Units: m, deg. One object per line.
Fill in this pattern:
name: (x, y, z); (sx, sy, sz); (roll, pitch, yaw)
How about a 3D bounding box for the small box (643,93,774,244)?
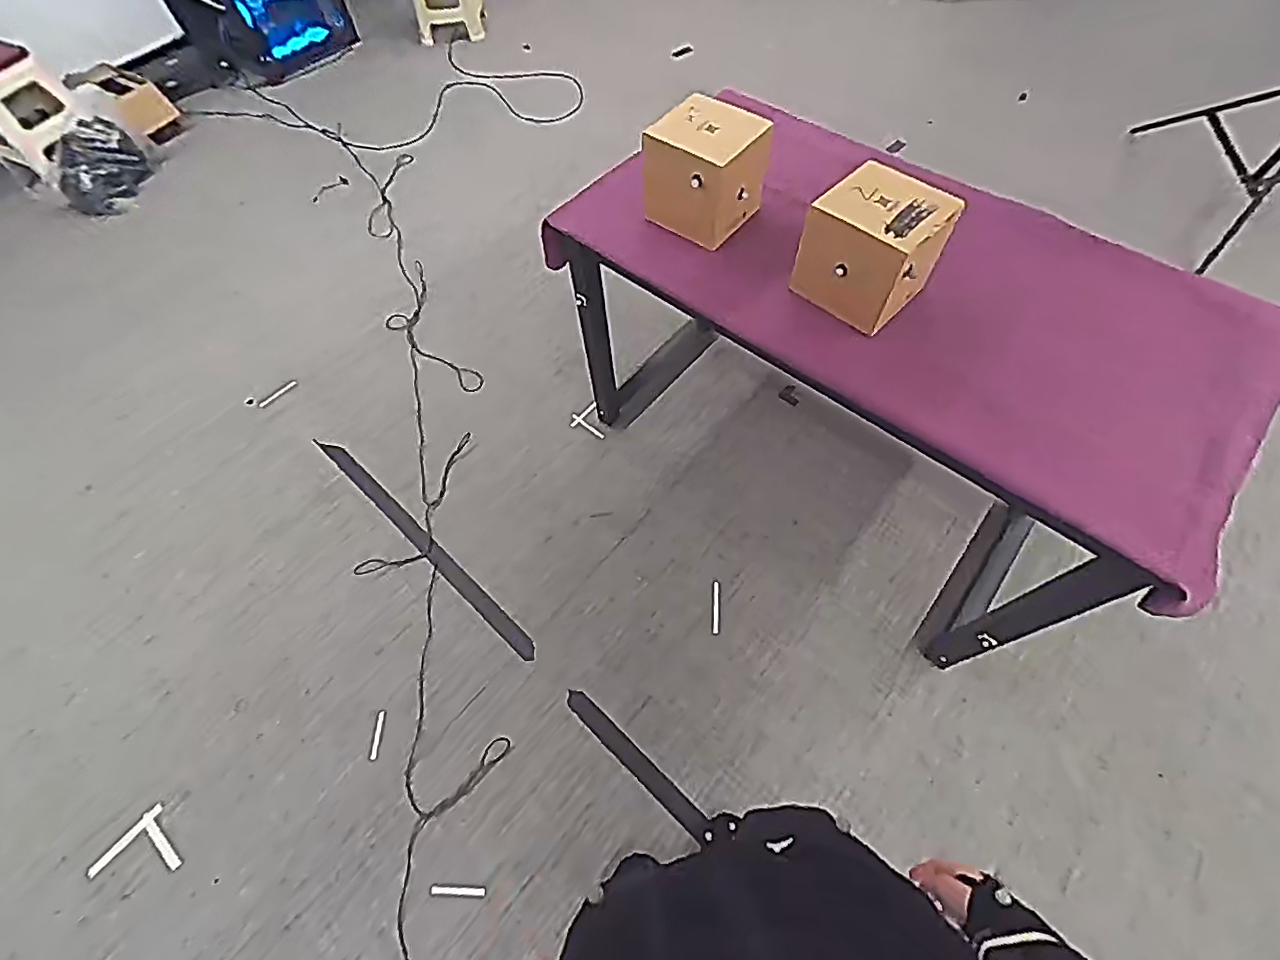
small box: (0.123, -0.579, 1.020); (0.179, 0.176, 0.168); (35, 67, 19)
